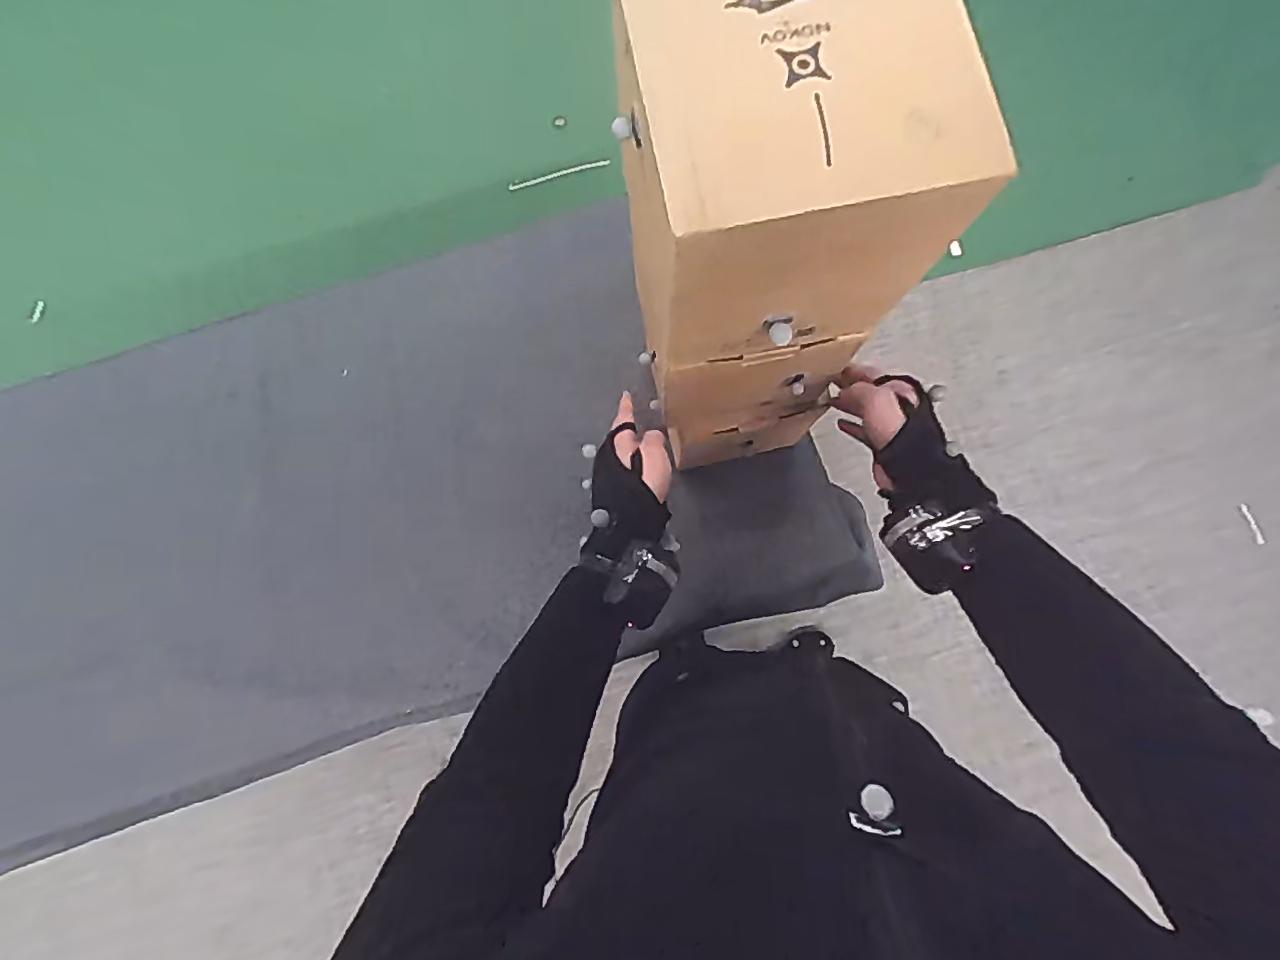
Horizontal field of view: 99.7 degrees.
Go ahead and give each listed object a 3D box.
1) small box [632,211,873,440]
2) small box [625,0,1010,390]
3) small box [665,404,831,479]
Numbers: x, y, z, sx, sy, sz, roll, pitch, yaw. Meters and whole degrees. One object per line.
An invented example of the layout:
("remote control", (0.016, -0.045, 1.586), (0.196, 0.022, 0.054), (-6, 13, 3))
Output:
("small box", (0.092, -0.146, 0.516), (0.168, 0.176, 0.179), (-11, 77, 0))
("small box", (0.086, -0.180, 0.354), (0.168, 0.176, 0.179), (-11, 80, 0))
("small box", (0.113, -0.106, 0.673), (0.168, 0.176, 0.179), (-14, 79, 0))
